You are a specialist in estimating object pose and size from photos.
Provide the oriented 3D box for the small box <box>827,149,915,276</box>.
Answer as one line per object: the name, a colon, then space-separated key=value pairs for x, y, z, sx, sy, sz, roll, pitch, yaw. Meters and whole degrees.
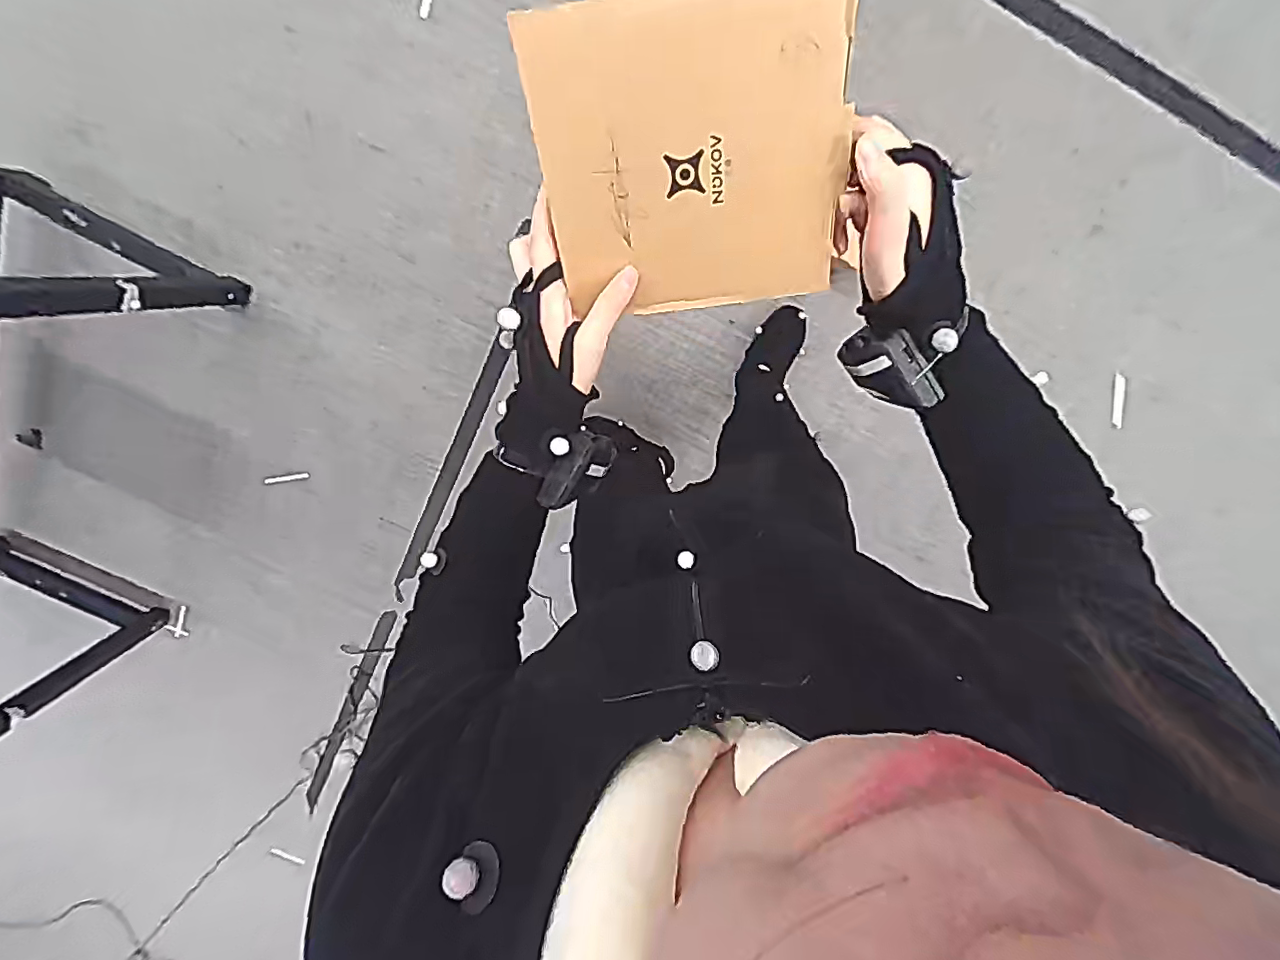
small box: x=0.429 y=-0.553 z=1.143 sx=0.168 sy=0.176 sz=0.179 roll=29 pitch=110 yaw=-7

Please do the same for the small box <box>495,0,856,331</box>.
small box: x=0.023 y=-0.222 z=0.364 sx=0.179 sy=0.176 sz=0.168 roll=-6 pitch=131 yaw=5
